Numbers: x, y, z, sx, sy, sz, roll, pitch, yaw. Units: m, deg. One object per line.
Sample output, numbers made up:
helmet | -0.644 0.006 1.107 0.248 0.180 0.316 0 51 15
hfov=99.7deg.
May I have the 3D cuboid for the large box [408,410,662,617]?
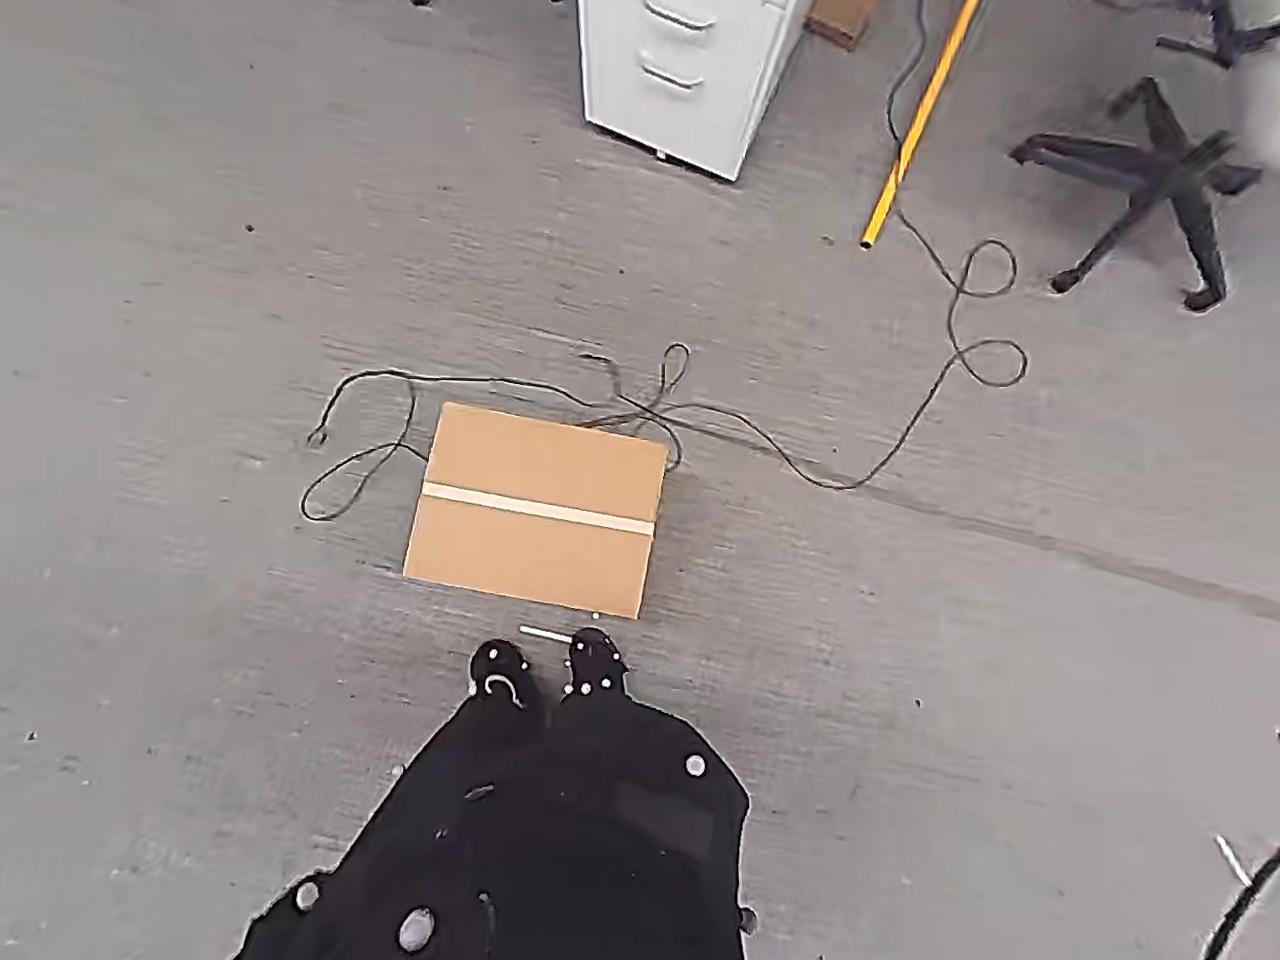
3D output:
large box | -0.184 0.075 1.091 0.408 0.320 0.320 10 81 -2
